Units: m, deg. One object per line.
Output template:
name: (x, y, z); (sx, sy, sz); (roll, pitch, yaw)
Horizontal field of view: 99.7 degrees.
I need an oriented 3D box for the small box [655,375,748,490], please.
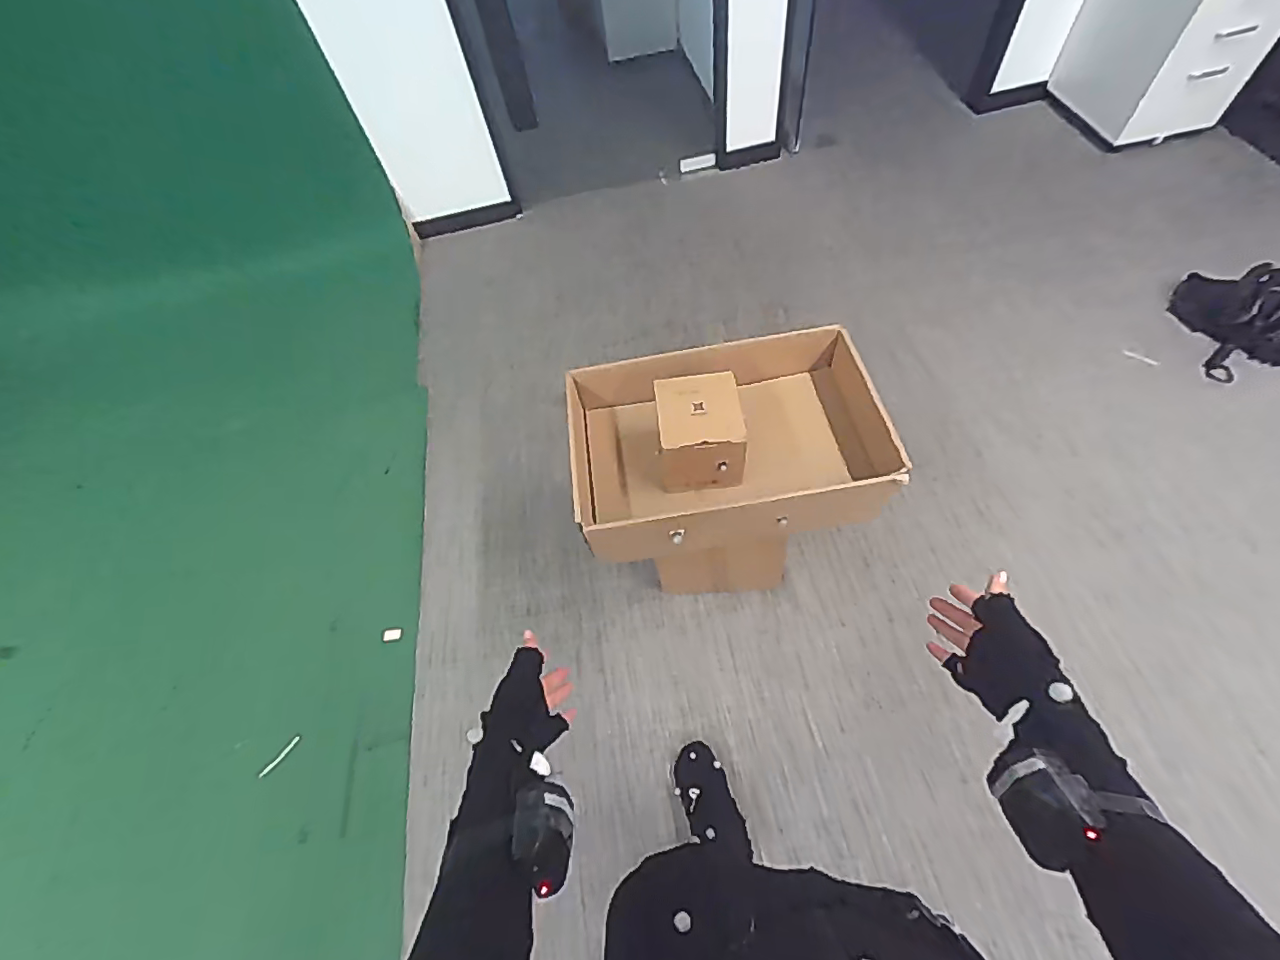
small box: (0.125, -0.091, 1.130); (0.168, 0.176, 0.179); (-6, 56, 1)
